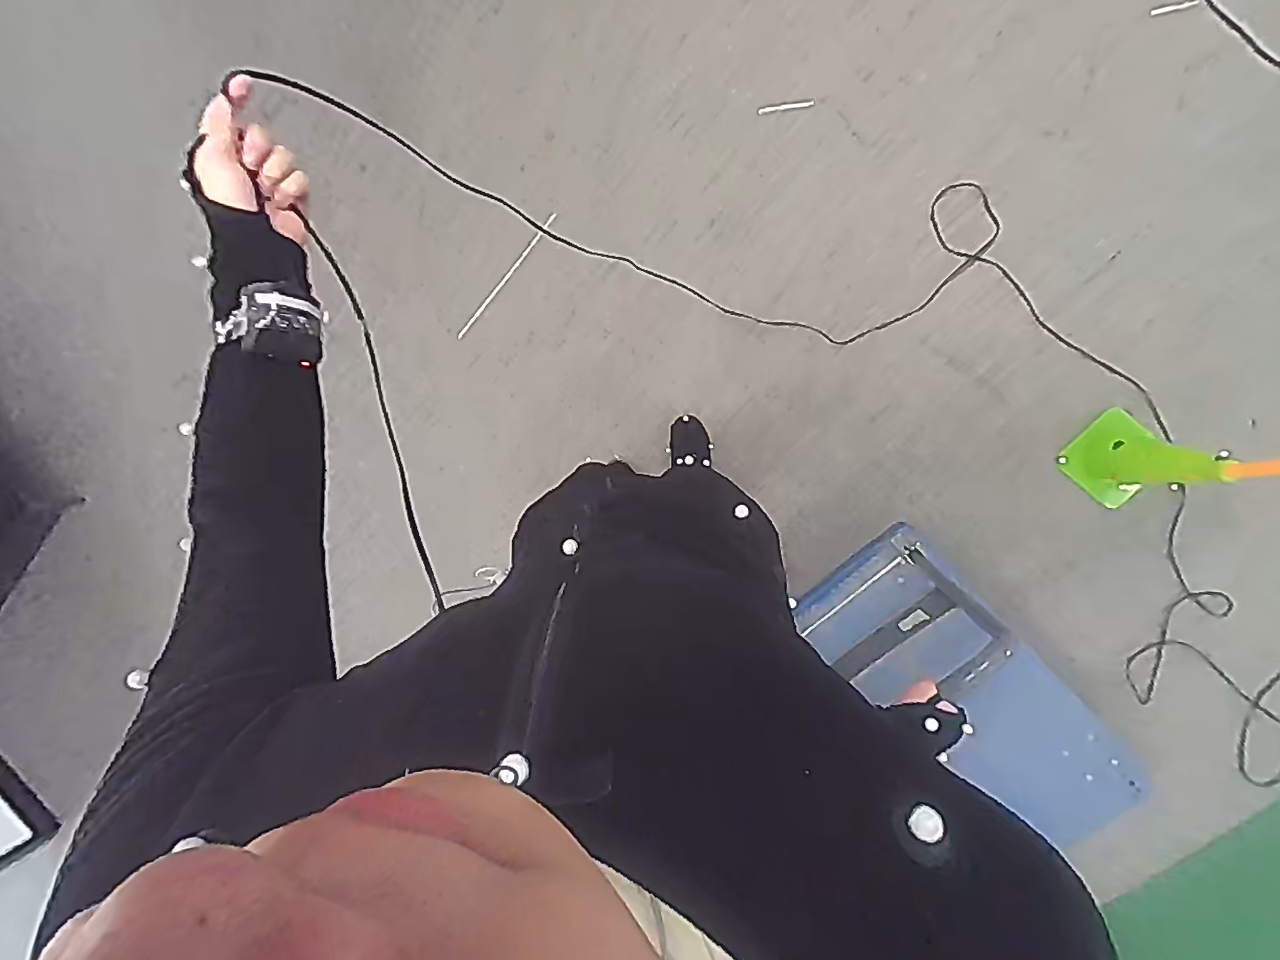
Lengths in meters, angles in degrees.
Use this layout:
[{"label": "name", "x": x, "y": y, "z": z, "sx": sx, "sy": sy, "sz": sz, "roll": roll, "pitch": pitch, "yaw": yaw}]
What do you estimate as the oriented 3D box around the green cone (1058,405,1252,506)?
[{"label": "green cone", "x": 1.179, "y": -0.042, "z": 1.208, "sx": 0.200, "sy": 0.368, "sz": 0.202, "roll": 41, "pitch": 102, "yaw": 3}]
